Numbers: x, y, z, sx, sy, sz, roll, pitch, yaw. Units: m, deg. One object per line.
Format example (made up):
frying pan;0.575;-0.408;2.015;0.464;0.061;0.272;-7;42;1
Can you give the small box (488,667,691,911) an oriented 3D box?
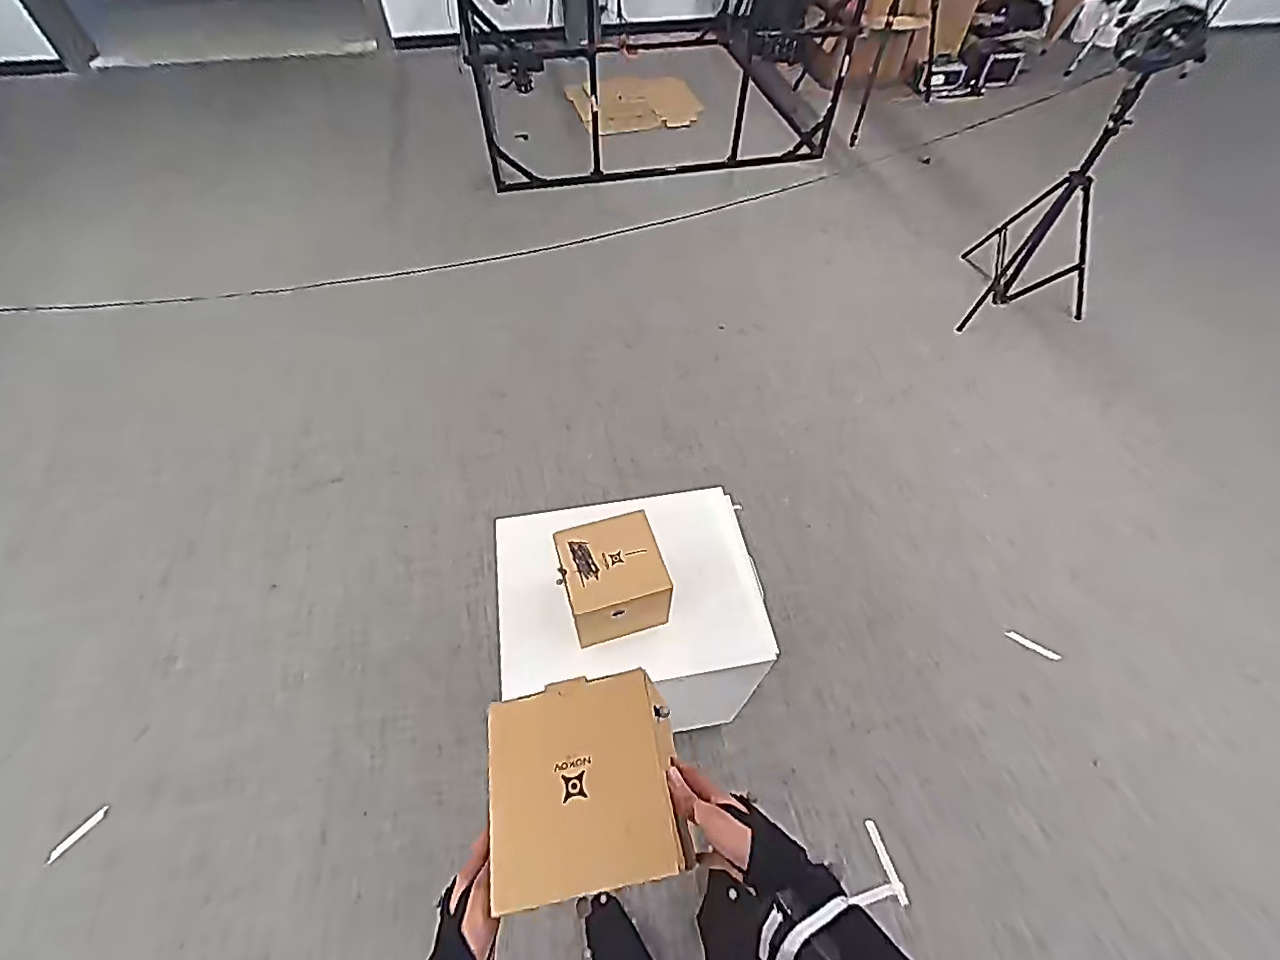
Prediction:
small box;-0.048;0.322;0.566;0.168;0.176;0.179;-14;52;2

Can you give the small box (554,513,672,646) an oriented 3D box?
small box;-0.050;0.189;1.006;0.179;0.176;0.168;-13;56;-11
